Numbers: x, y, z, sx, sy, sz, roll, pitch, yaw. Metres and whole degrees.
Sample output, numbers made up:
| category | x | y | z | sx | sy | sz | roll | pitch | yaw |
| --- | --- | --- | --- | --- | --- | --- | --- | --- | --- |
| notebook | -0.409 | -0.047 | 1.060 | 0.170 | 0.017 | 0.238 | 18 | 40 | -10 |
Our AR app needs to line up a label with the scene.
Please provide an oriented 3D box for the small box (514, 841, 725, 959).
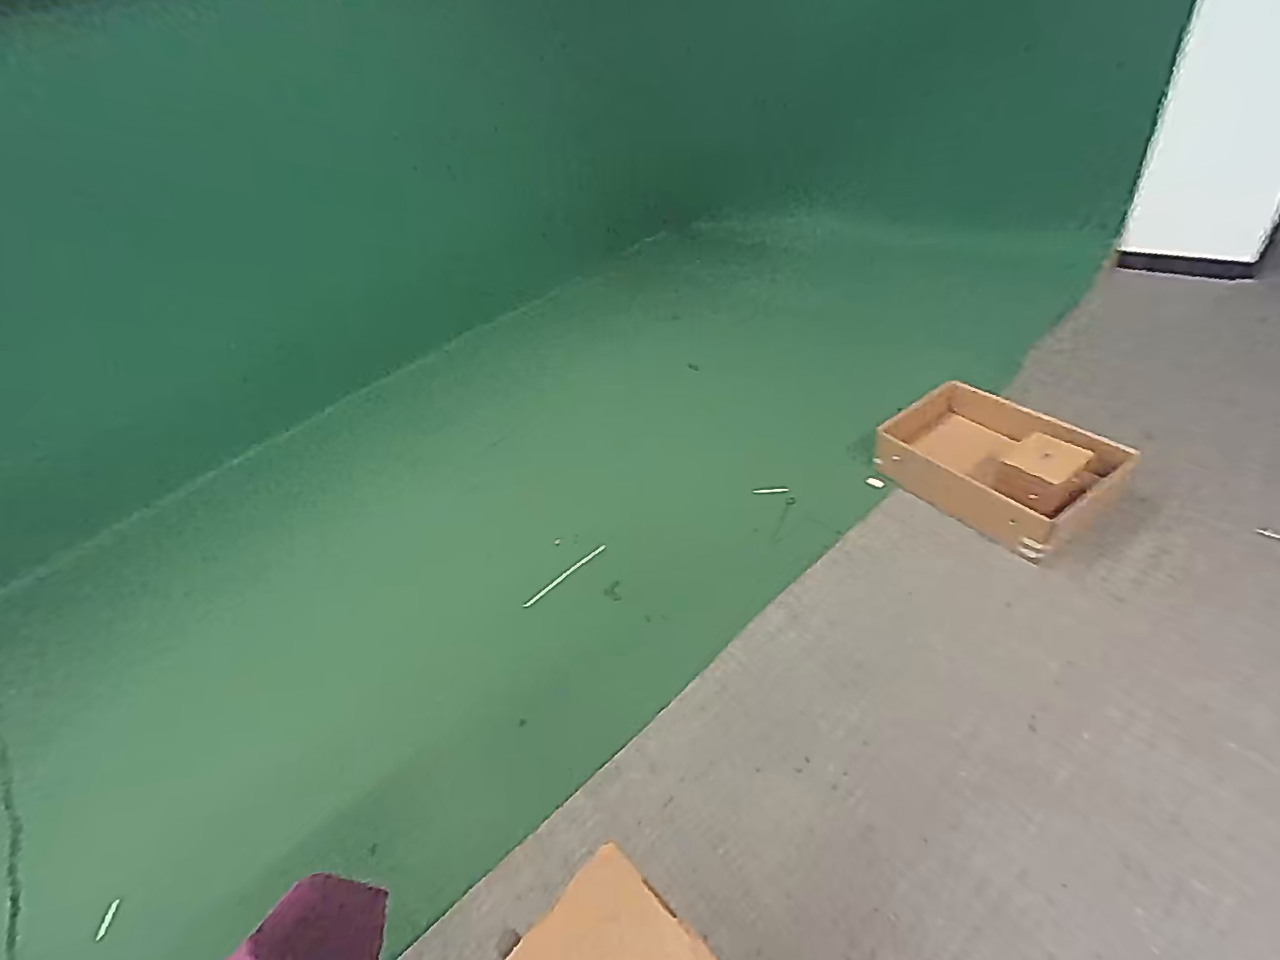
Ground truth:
| category | x | y | z | sx | sy | sz | roll | pitch | yaw |
| --- | --- | --- | --- | --- | --- | --- | --- | --- | --- |
| small box | -0.029 | 0.367 | 0.318 | 0.168 | 0.176 | 0.179 | 40 | 48 | 23 |
